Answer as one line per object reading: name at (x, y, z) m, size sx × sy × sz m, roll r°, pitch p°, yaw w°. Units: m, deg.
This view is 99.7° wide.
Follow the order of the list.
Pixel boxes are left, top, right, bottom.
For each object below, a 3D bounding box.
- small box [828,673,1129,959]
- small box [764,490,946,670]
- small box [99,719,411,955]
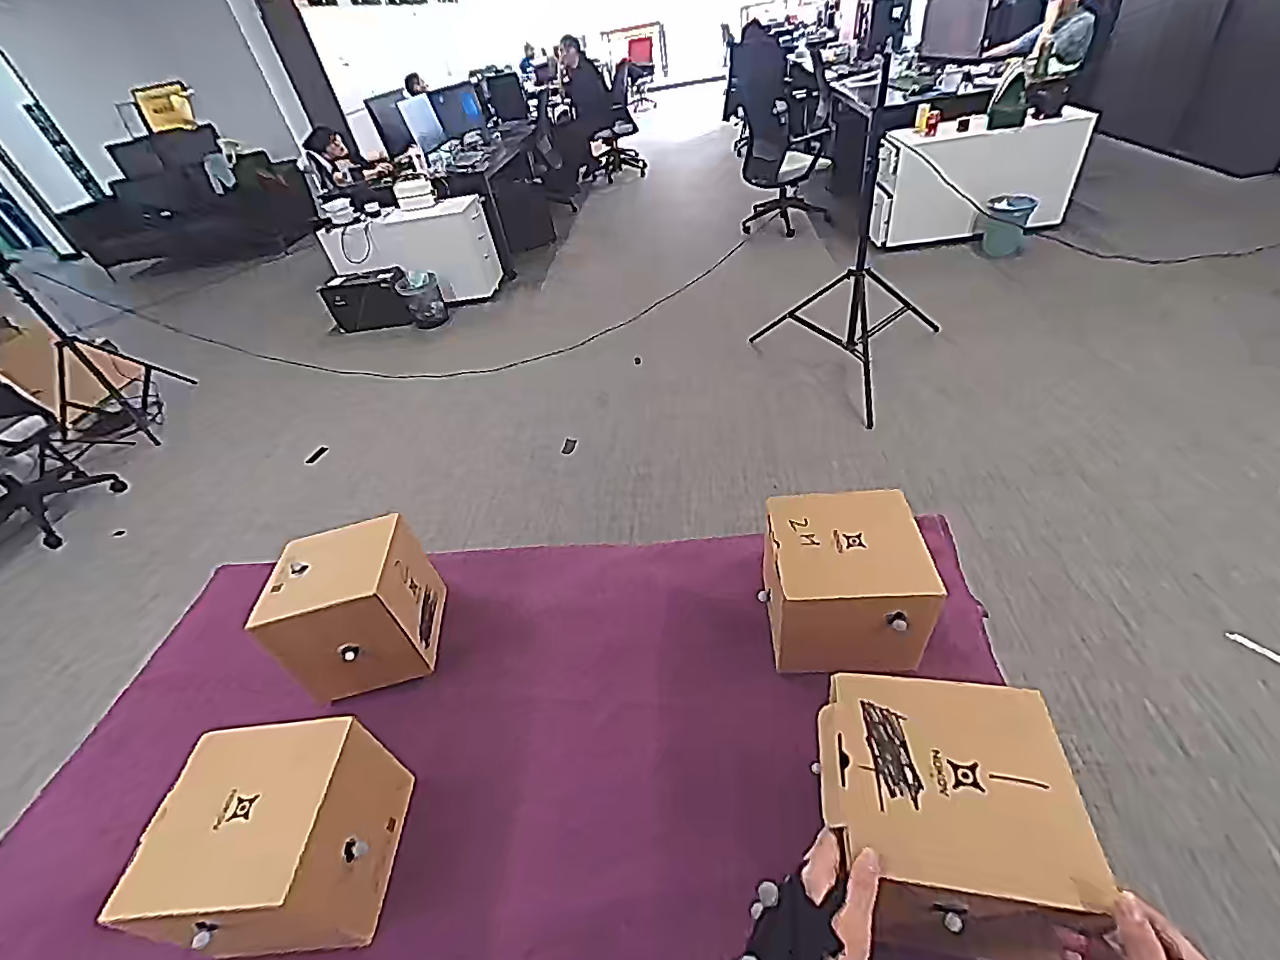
small box at (0.264, 0.297, 0.480) m, size 0.179 × 0.176 × 0.168 m, roll 1°, pitch 40°, yaw 14°
small box at (0.258, 0.132, 0.700) m, size 0.179 × 0.176 × 0.168 m, roll -4°, pitch 42°, yaw 8°
small box at (-0.372, 0.377, 0.571) m, size 0.179 × 0.176 × 0.168 m, roll -8°, pitch 40°, yaw 4°
